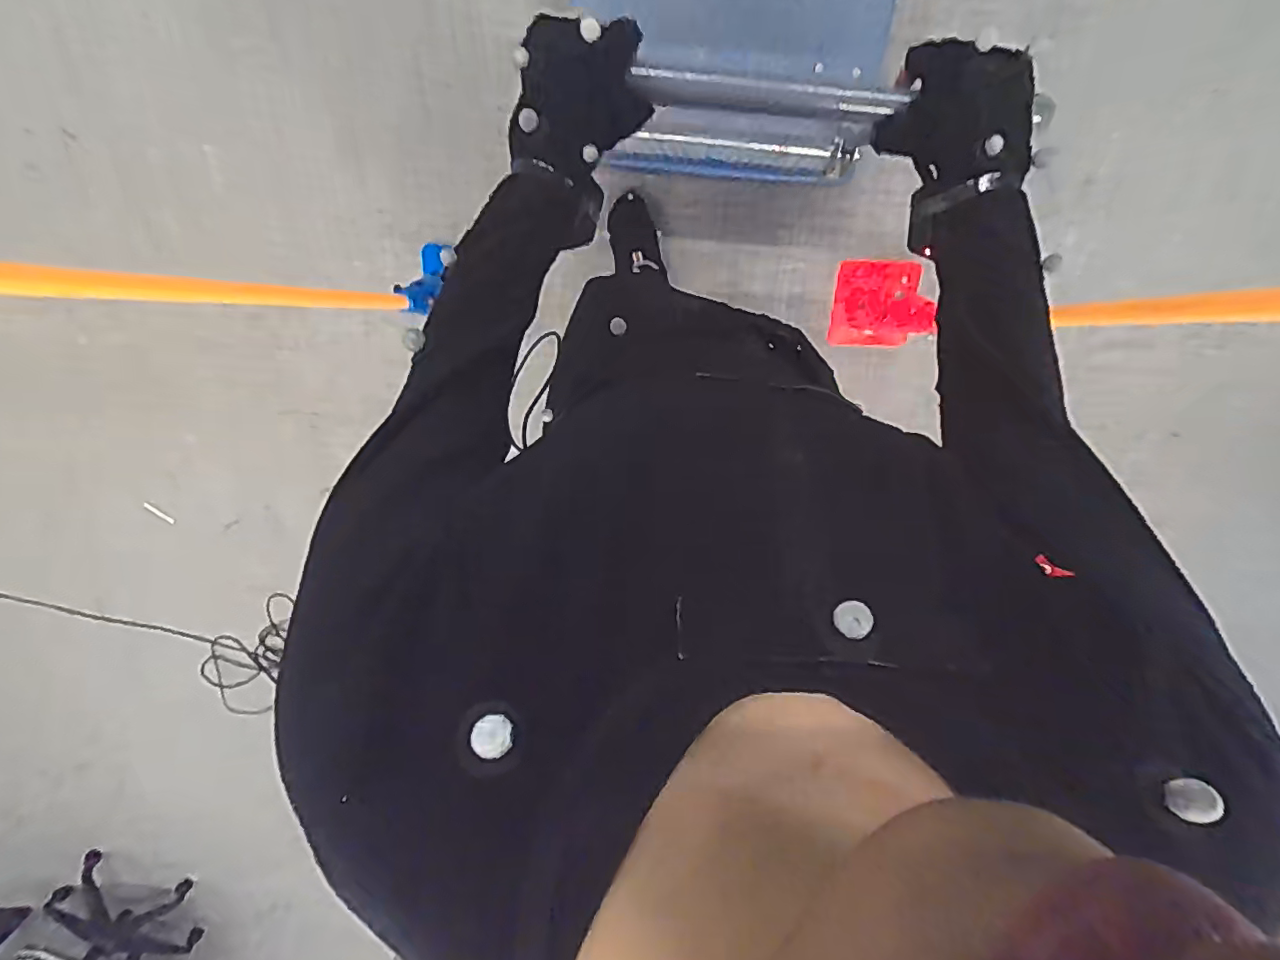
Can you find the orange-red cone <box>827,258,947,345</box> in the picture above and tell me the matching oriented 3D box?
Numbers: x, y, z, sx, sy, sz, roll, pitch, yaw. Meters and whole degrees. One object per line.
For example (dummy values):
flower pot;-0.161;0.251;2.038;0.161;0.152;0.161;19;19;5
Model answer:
orange-red cone;0.564;-0.373;1.176;0.199;0.360;0.198;4;113;2
